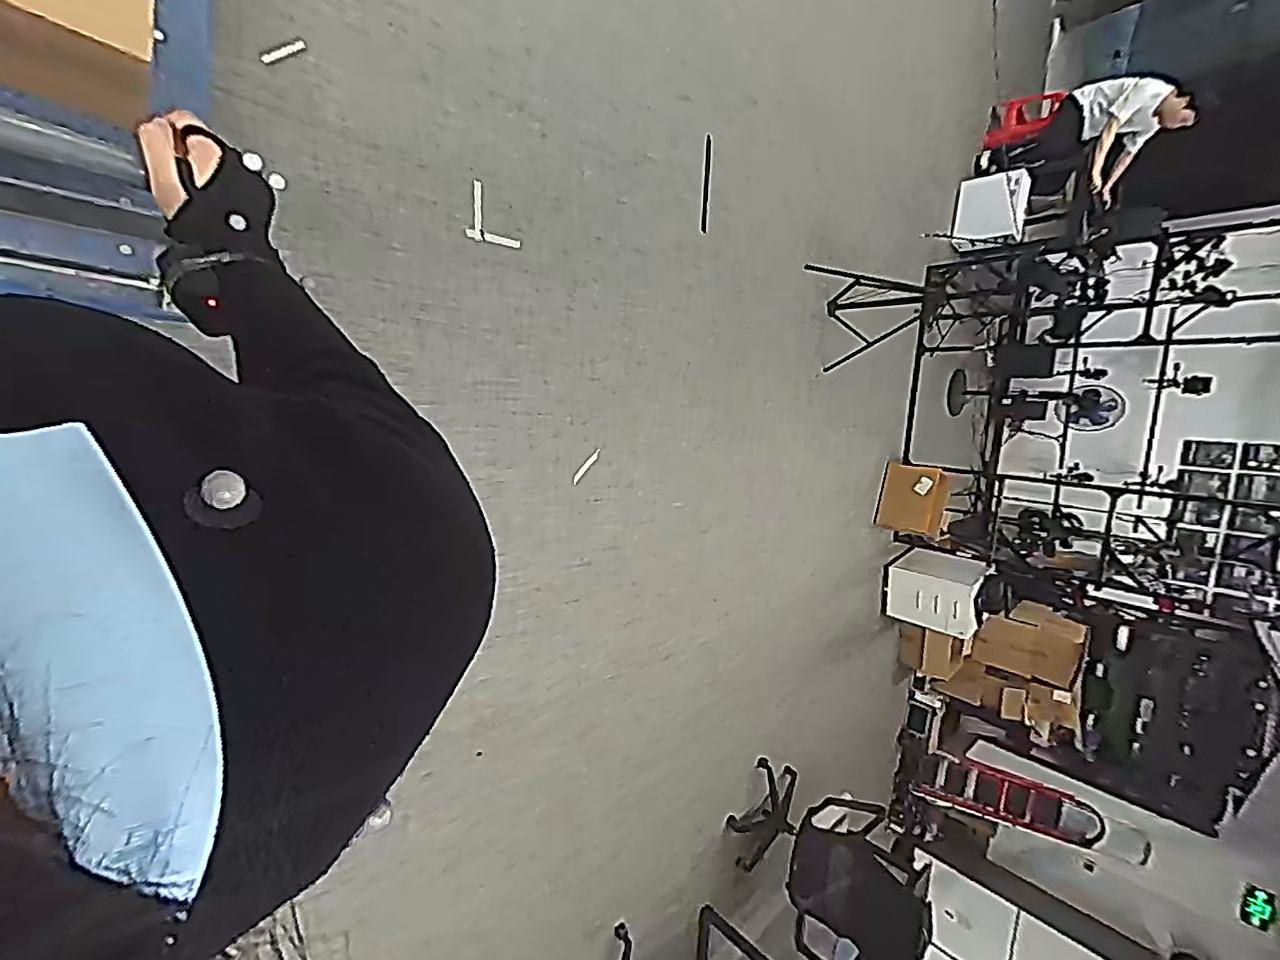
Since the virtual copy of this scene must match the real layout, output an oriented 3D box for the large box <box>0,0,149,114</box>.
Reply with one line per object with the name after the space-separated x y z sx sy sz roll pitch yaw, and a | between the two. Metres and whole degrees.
-0.875 -0.743 0.662 0.408 0.320 0.320 2 96 -44 | large box
